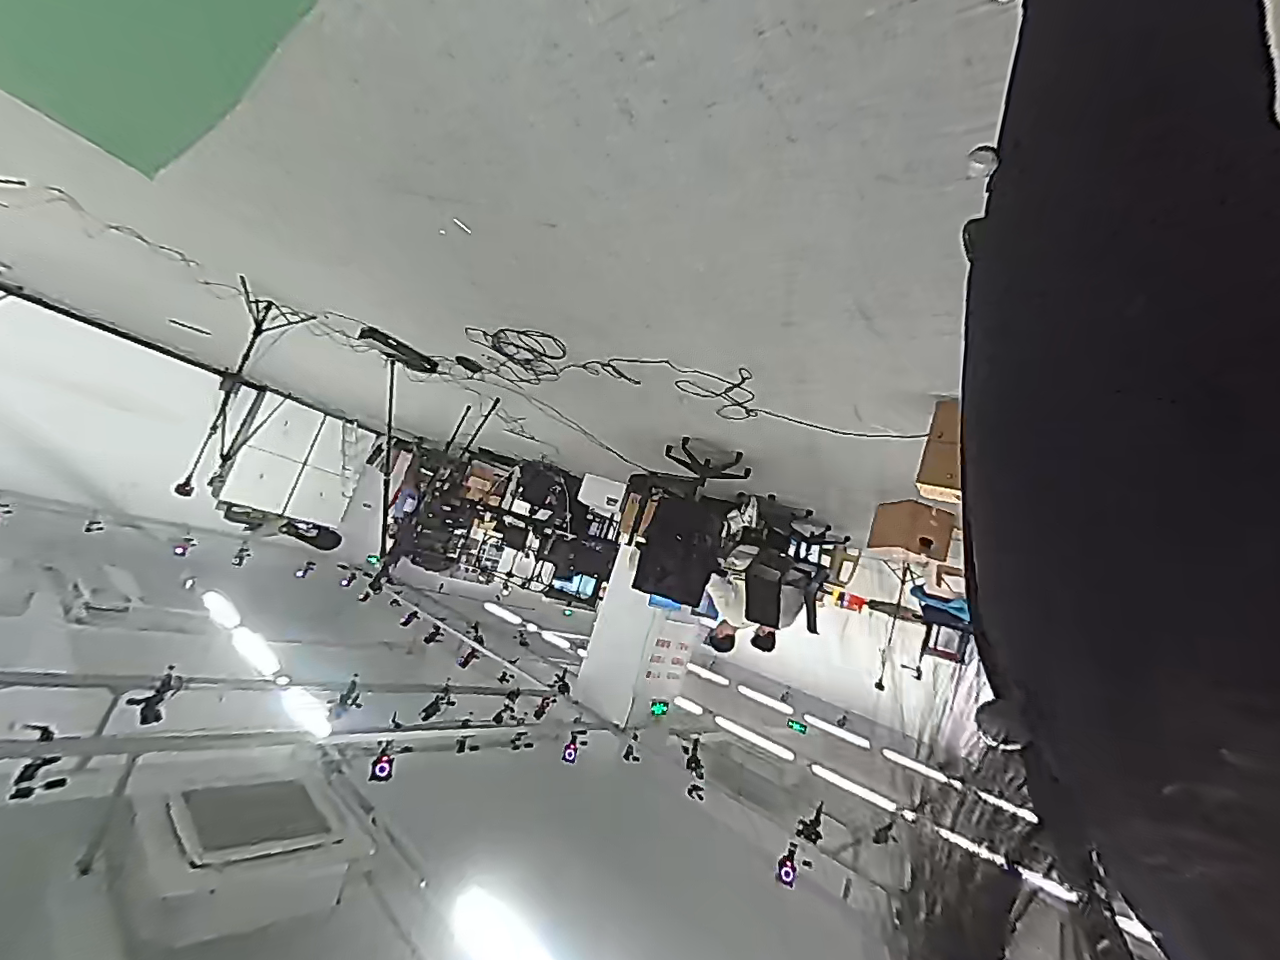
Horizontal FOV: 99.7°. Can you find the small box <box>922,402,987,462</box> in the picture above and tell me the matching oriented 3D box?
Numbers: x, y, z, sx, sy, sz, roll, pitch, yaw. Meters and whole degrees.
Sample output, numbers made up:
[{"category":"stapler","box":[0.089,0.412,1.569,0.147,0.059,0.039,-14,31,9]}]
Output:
[{"category":"small box","box":[1.166,-0.179,1.995,0.179,0.176,0.168,12,169,38]}]

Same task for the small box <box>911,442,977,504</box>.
[{"category":"small box","box":[1.108,-0.028,1.961,0.179,0.176,0.168,13,169,38]}]
